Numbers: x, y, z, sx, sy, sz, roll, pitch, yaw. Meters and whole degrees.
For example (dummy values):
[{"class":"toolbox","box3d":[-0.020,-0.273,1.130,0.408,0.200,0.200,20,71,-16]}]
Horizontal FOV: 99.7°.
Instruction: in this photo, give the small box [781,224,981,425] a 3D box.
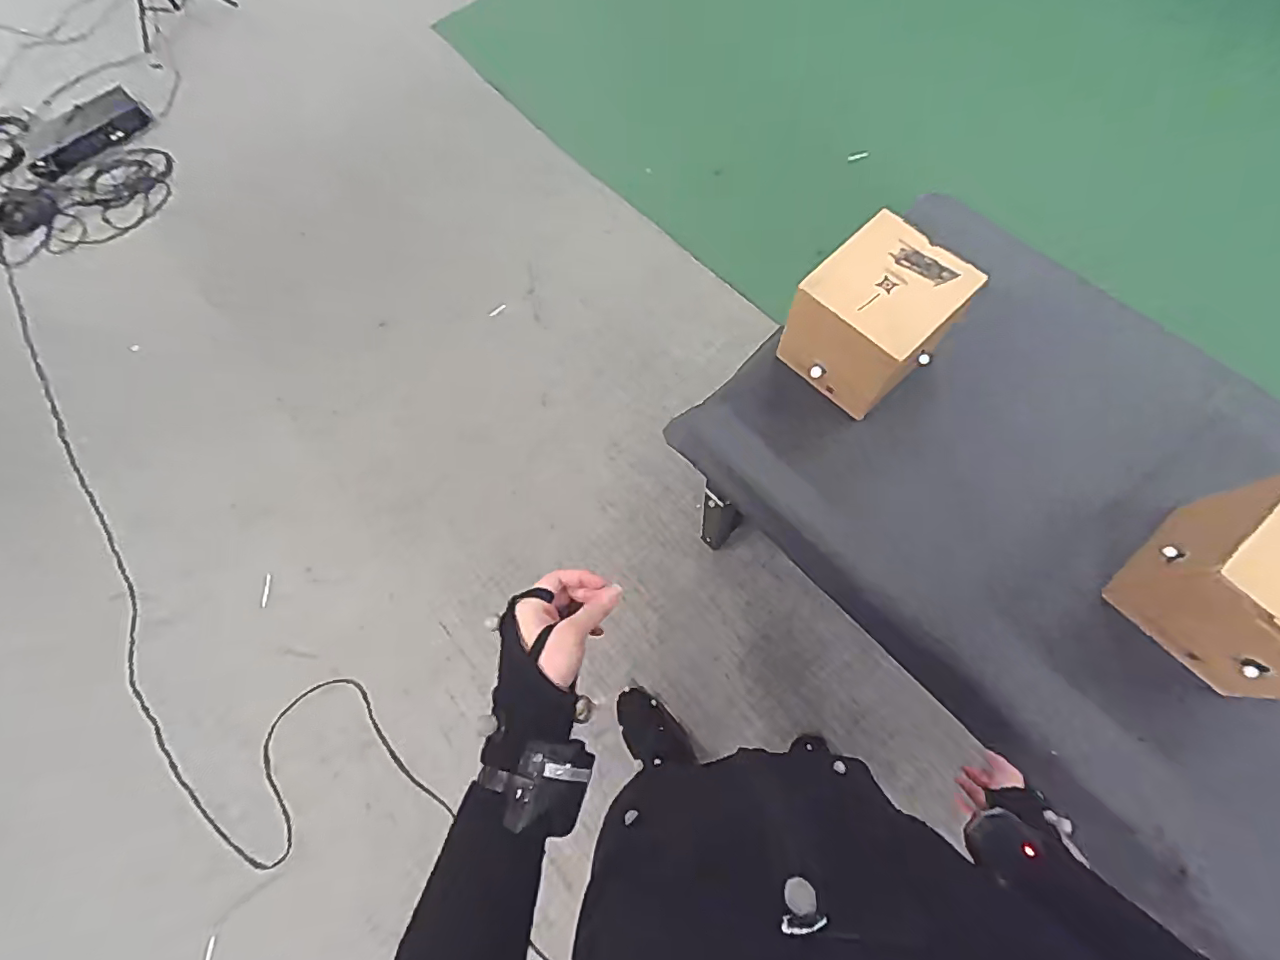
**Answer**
[{"class":"small box","box3d":[0.325,-0.213,0.771,0.179,0.176,0.168,-42,73,-10]}]

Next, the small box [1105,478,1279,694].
[{"class":"small box","box3d":[0.704,0.130,0.627,0.179,0.176,0.168,-41,74,-11]}]
